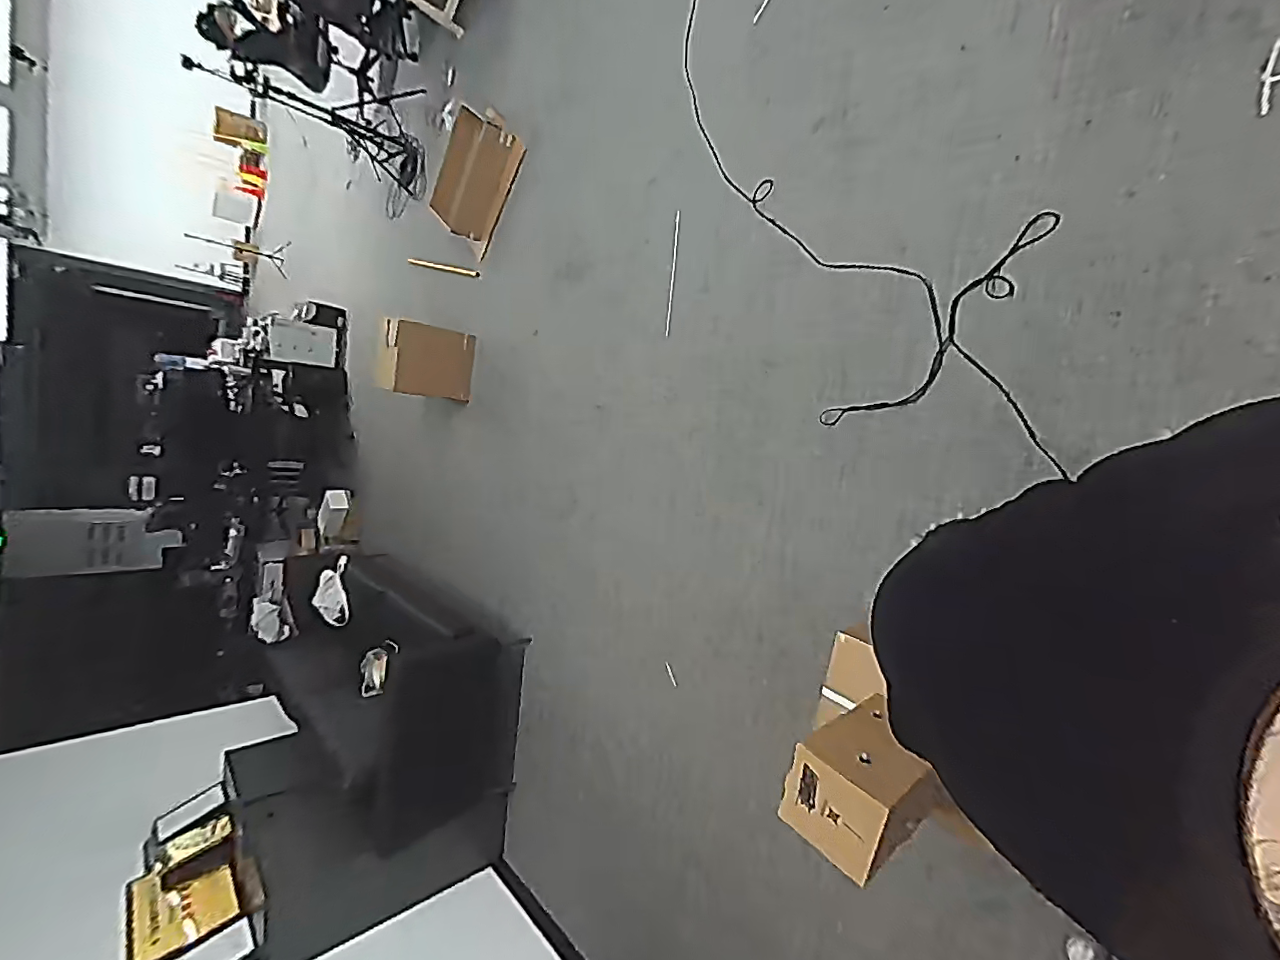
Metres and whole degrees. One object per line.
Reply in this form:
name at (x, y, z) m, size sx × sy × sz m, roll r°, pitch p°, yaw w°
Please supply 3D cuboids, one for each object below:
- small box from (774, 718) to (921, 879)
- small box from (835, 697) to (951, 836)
small box at (0.386, 0.574, 1.007) m, size 0.179 × 0.176 × 0.168 m, roll 24°, pitch 109°, yaw 43°
small box at (0.506, 0.575, 1.120) m, size 0.179 × 0.176 × 0.168 m, roll 22°, pitch 108°, yaw 44°
